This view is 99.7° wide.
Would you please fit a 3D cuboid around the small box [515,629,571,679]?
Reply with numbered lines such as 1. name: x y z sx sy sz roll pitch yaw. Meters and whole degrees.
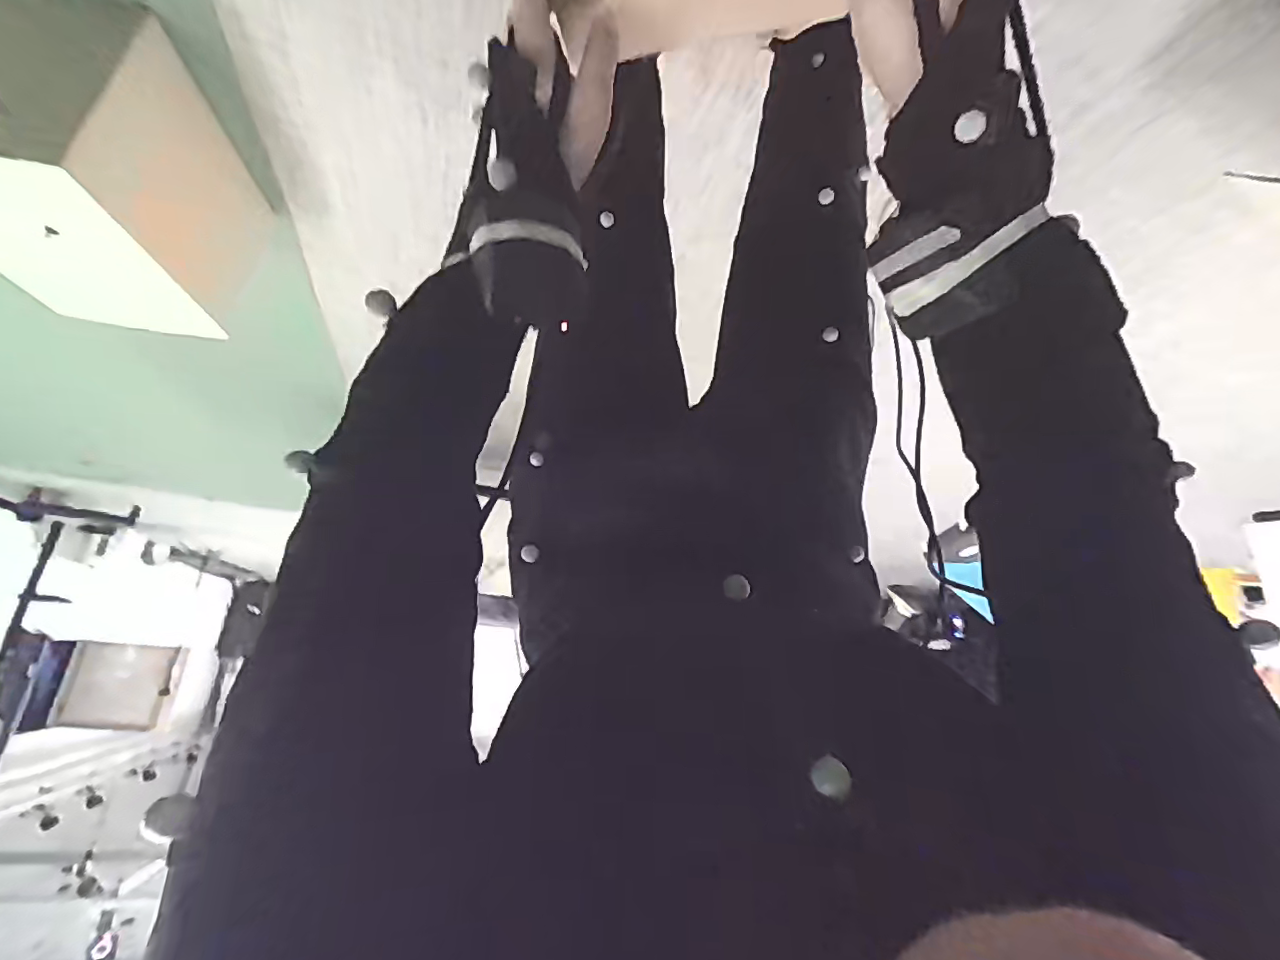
1. small box: -0.376 0.679 2.114 0.179 0.176 0.168 13 158 -18

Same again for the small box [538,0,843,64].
1. small box: 0.020 -0.369 0.279 0.179 0.176 0.168 -3 162 10
